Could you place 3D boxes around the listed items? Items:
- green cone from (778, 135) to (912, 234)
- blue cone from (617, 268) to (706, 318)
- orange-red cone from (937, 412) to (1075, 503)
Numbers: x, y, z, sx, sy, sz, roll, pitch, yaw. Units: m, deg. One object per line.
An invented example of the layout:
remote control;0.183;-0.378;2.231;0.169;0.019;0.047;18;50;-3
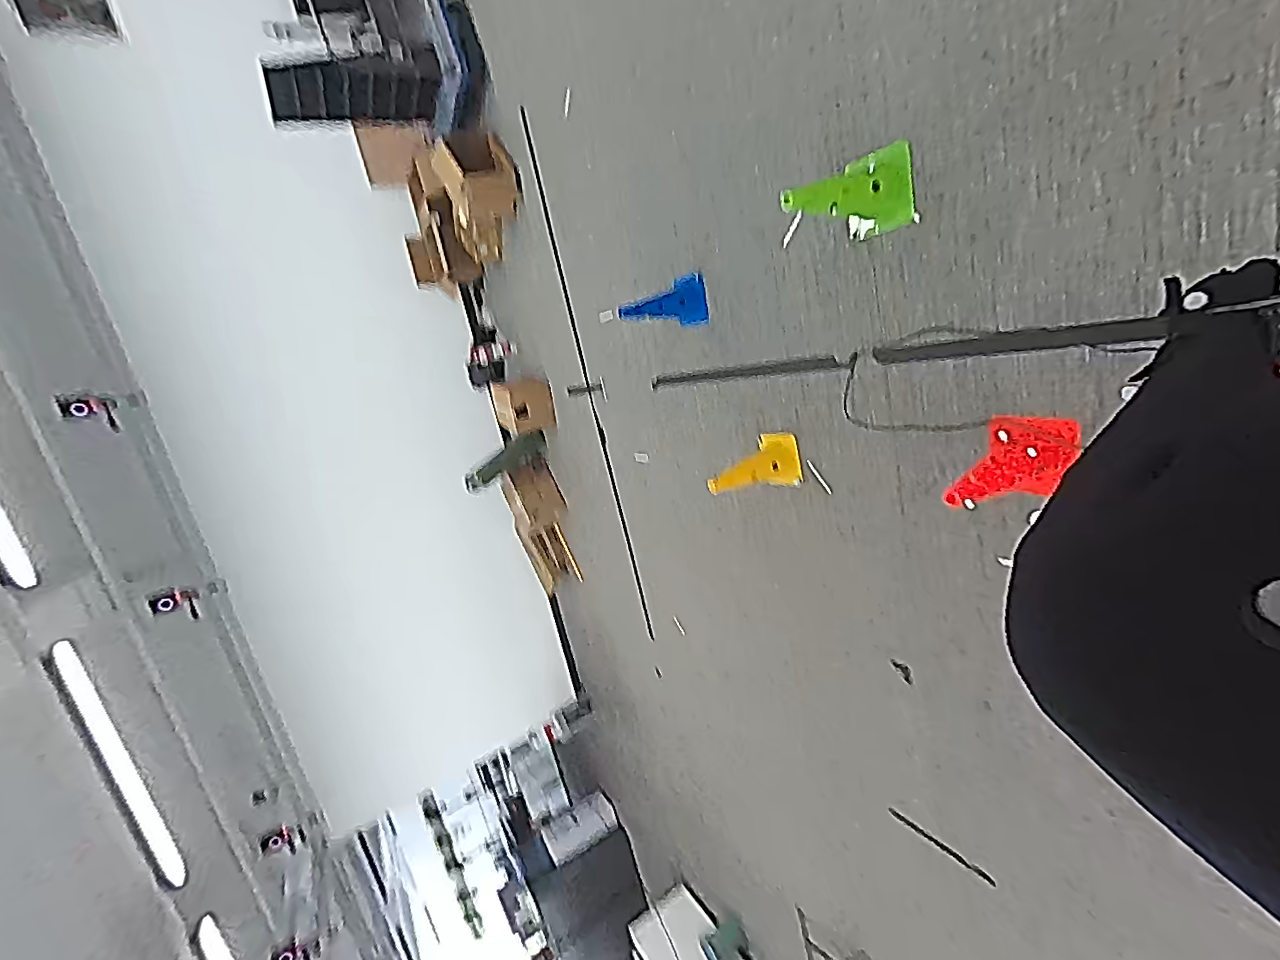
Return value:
green cone;0.504;-0.753;1.400;0.200;0.368;0.202;11;116;59
blue cone;0.076;-0.741;2.213;0.193;0.380;0.192;17;121;57
orange-red cone;0.833;-0.017;1.286;0.198;0.360;0.199;20;125;58
